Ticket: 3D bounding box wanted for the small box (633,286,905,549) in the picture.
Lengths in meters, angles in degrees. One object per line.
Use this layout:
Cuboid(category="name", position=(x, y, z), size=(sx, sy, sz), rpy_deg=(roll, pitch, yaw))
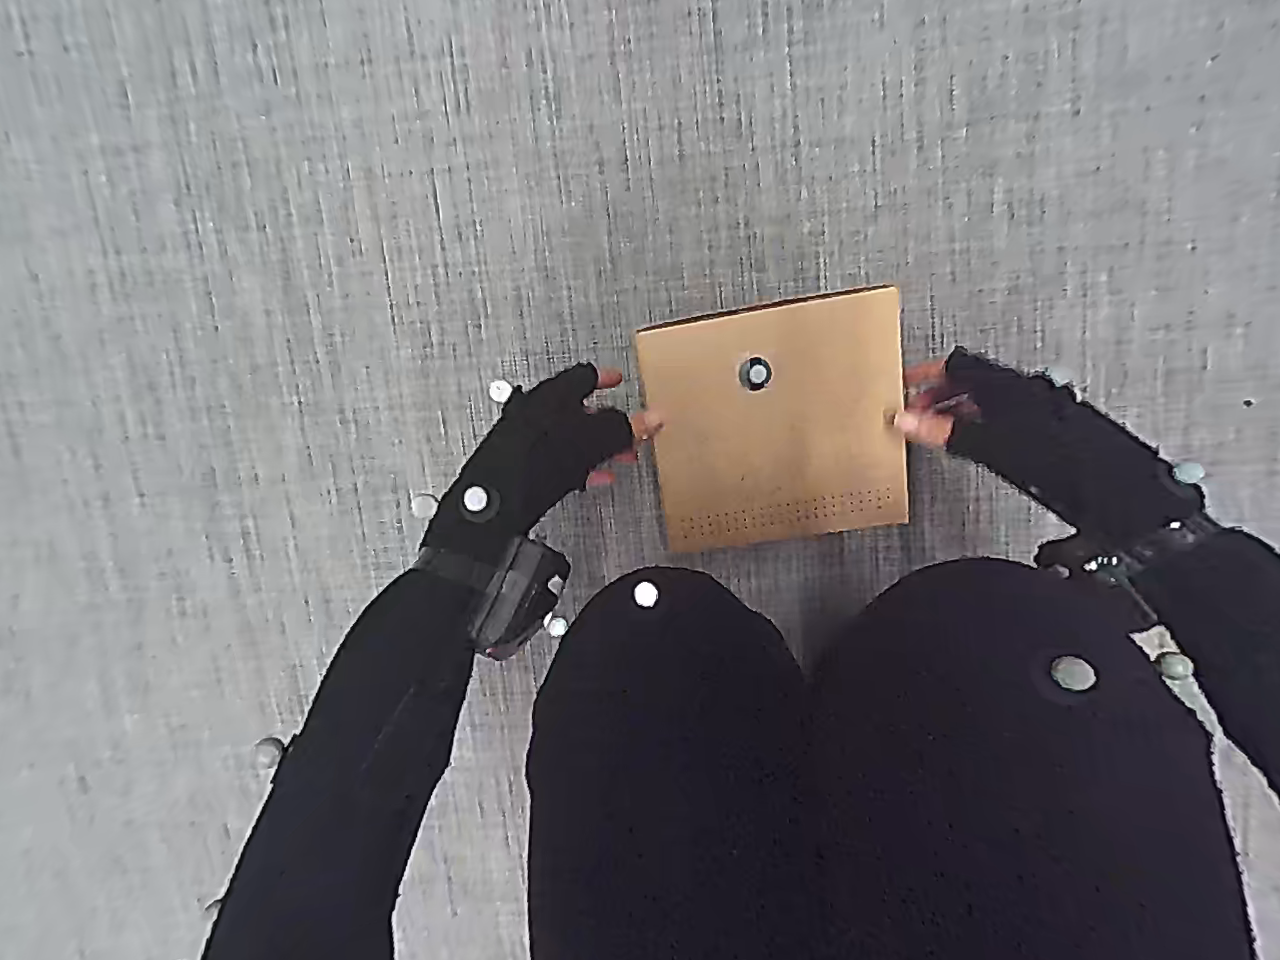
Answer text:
Cuboid(category="small box", position=(0.099, -0.052, 0.449), size=(0.179, 0.168, 0.176), rpy_deg=(-9, 105, 5))
